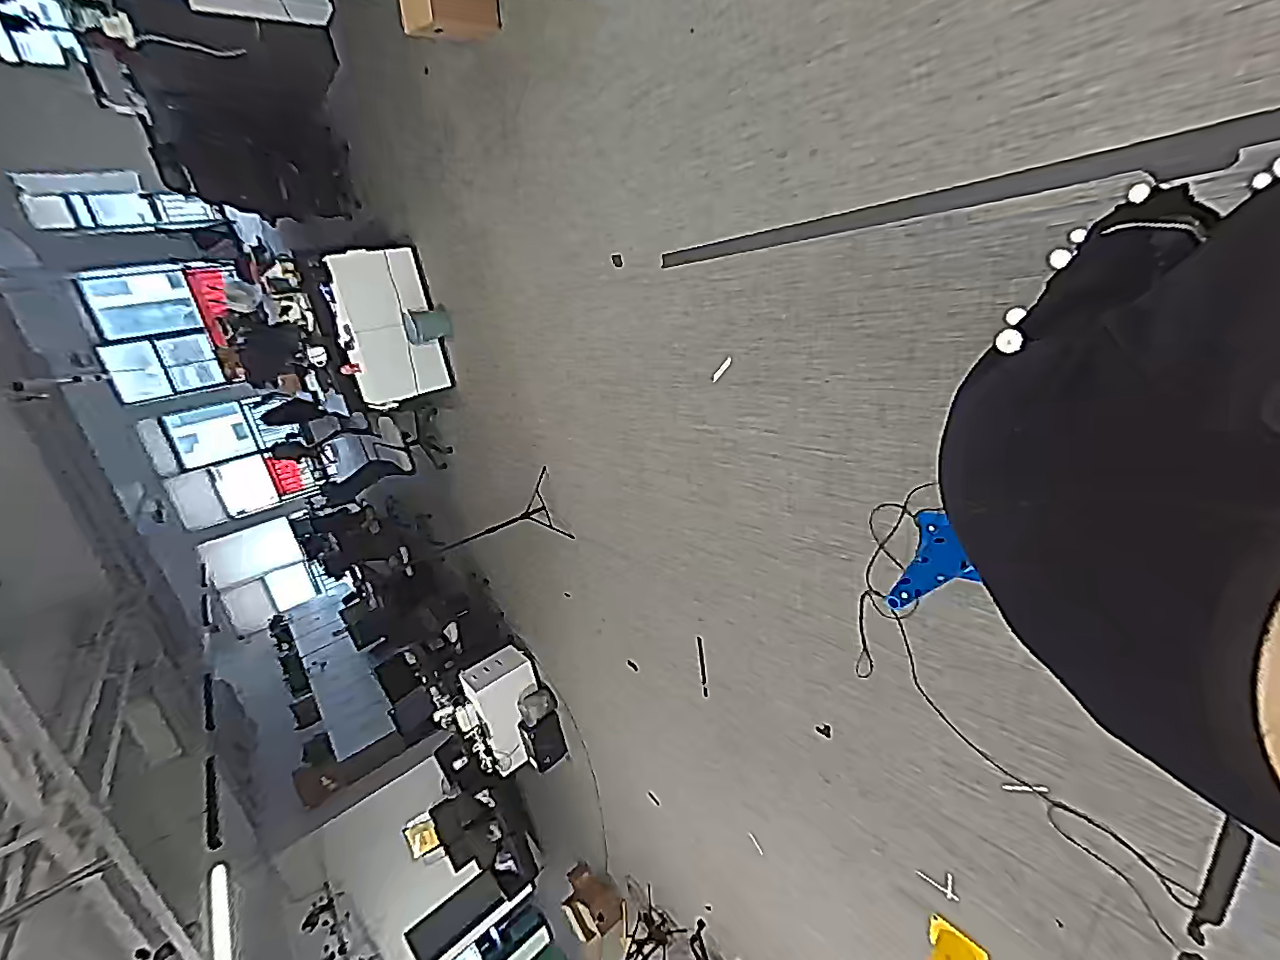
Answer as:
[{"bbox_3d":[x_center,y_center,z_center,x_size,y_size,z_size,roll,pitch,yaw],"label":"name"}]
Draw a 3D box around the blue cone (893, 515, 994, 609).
[{"bbox_3d":[0.785,0.246,1.464,0.192,0.380,0.193,9,116,52],"label":"blue cone"}]
